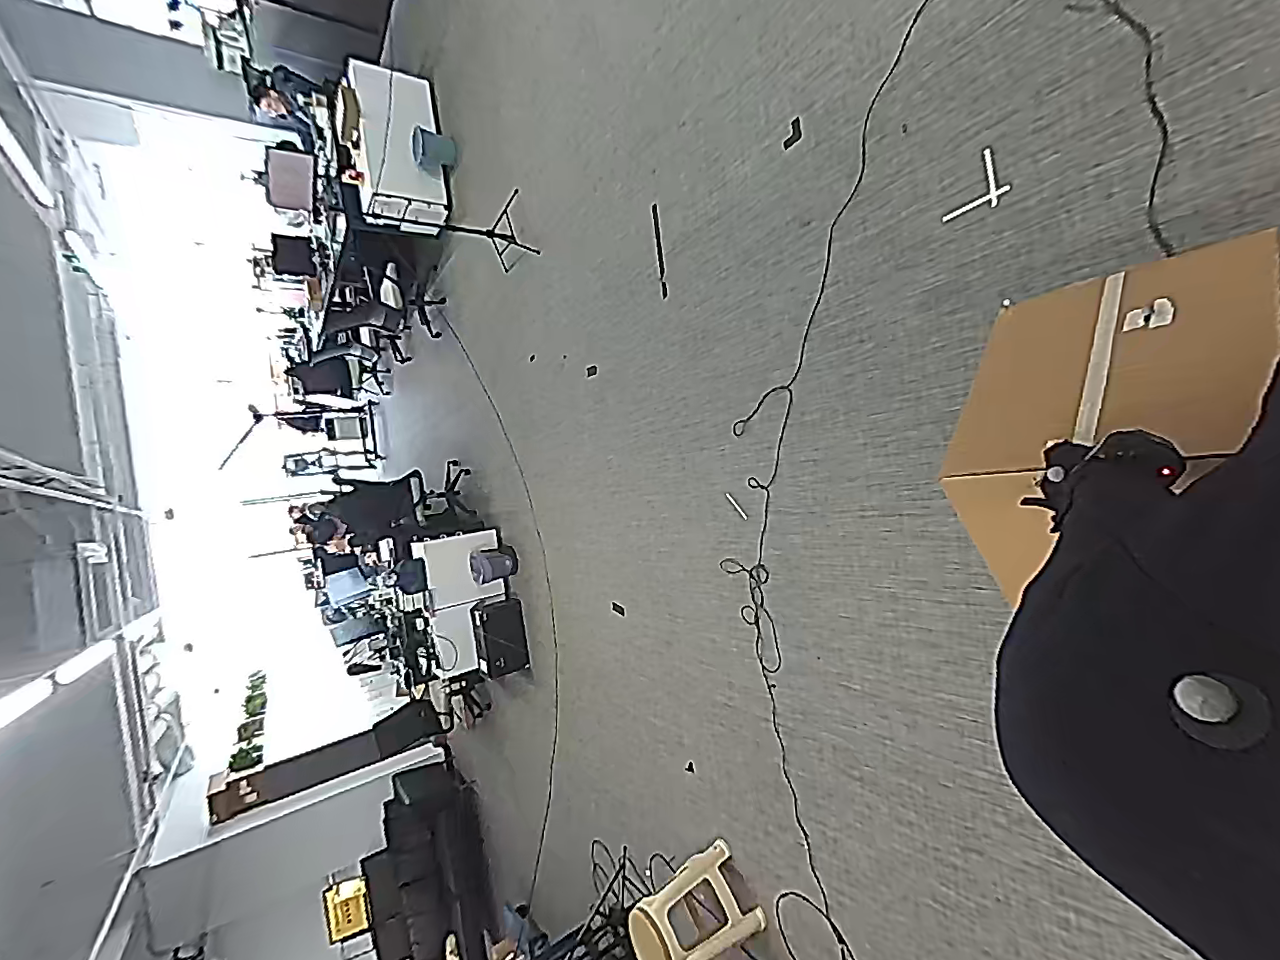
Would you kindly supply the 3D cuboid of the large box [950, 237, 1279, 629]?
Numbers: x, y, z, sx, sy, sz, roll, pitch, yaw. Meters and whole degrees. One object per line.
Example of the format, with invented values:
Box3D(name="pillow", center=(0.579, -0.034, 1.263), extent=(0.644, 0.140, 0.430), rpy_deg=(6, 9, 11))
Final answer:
Box3D(name="large box", center=(0.704, -0.052, 0.768), extent=(0.320, 0.408, 0.320), rpy_deg=(-6, 131, 52))
